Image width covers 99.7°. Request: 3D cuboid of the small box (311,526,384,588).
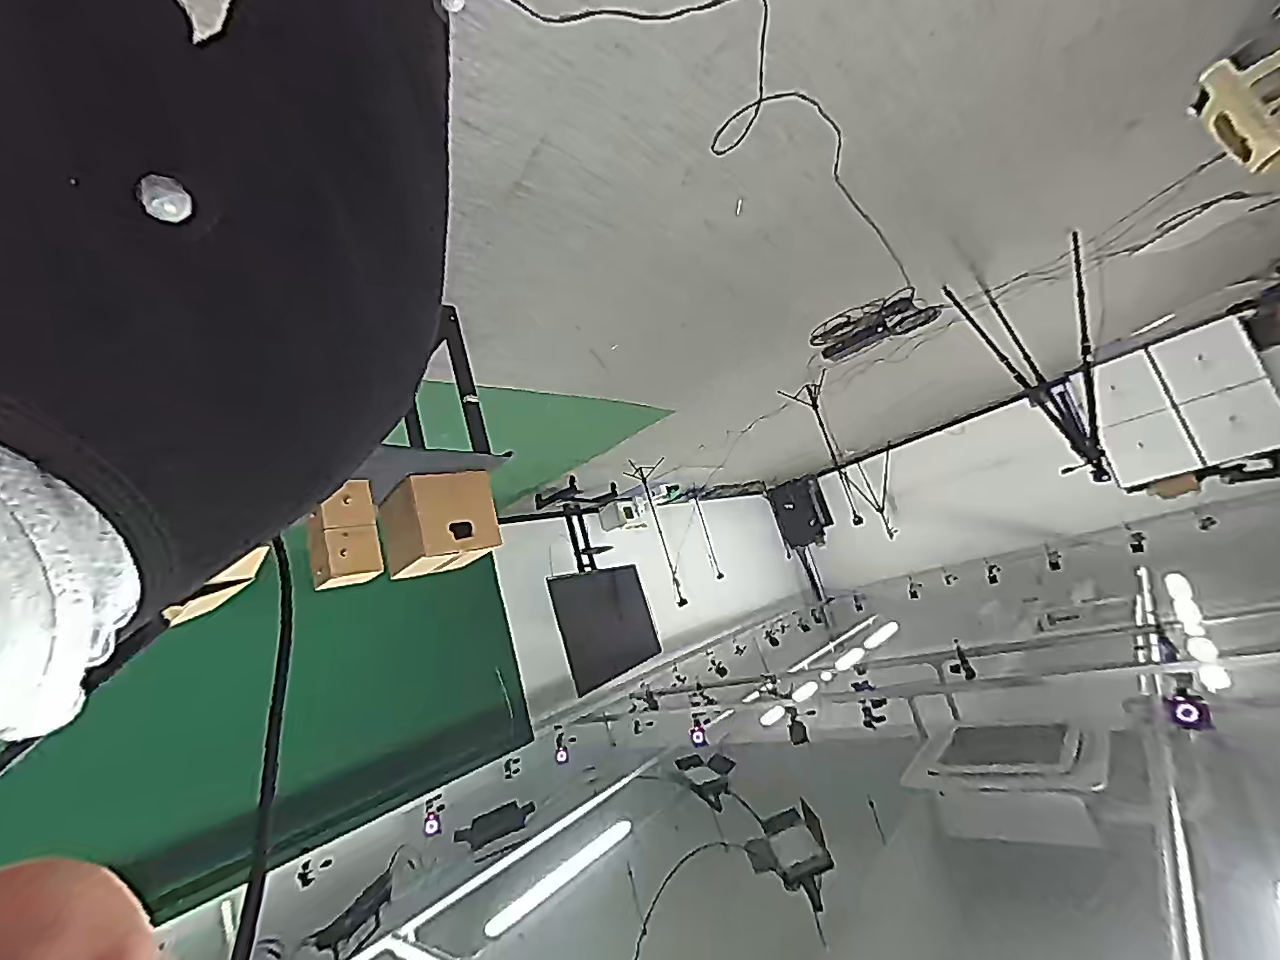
[{"bbox_3d":[-1.005,0.258,1.848,0.179,0.176,0.168,-24,166,41],"label":"small box"}]
